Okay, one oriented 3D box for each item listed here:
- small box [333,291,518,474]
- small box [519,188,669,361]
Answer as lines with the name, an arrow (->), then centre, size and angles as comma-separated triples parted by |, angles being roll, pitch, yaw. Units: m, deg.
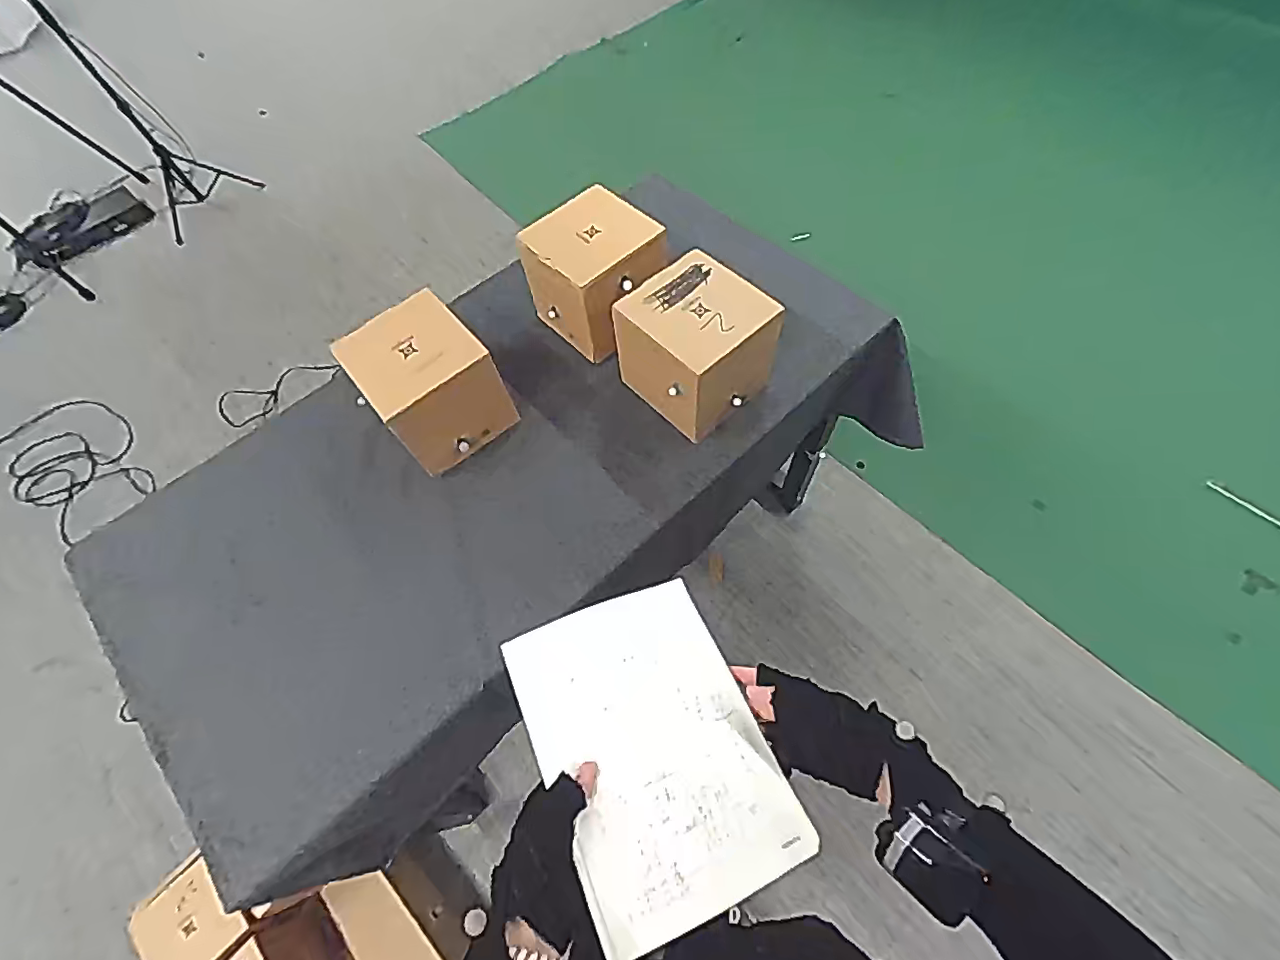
small box -> -0.313, -0.141, 0.818 | 0.168, 0.176, 0.179 | -38, 66, -14
small box -> -0.069, -0.338, 0.903 | 0.179, 0.176, 0.168 | -41, 66, -15
